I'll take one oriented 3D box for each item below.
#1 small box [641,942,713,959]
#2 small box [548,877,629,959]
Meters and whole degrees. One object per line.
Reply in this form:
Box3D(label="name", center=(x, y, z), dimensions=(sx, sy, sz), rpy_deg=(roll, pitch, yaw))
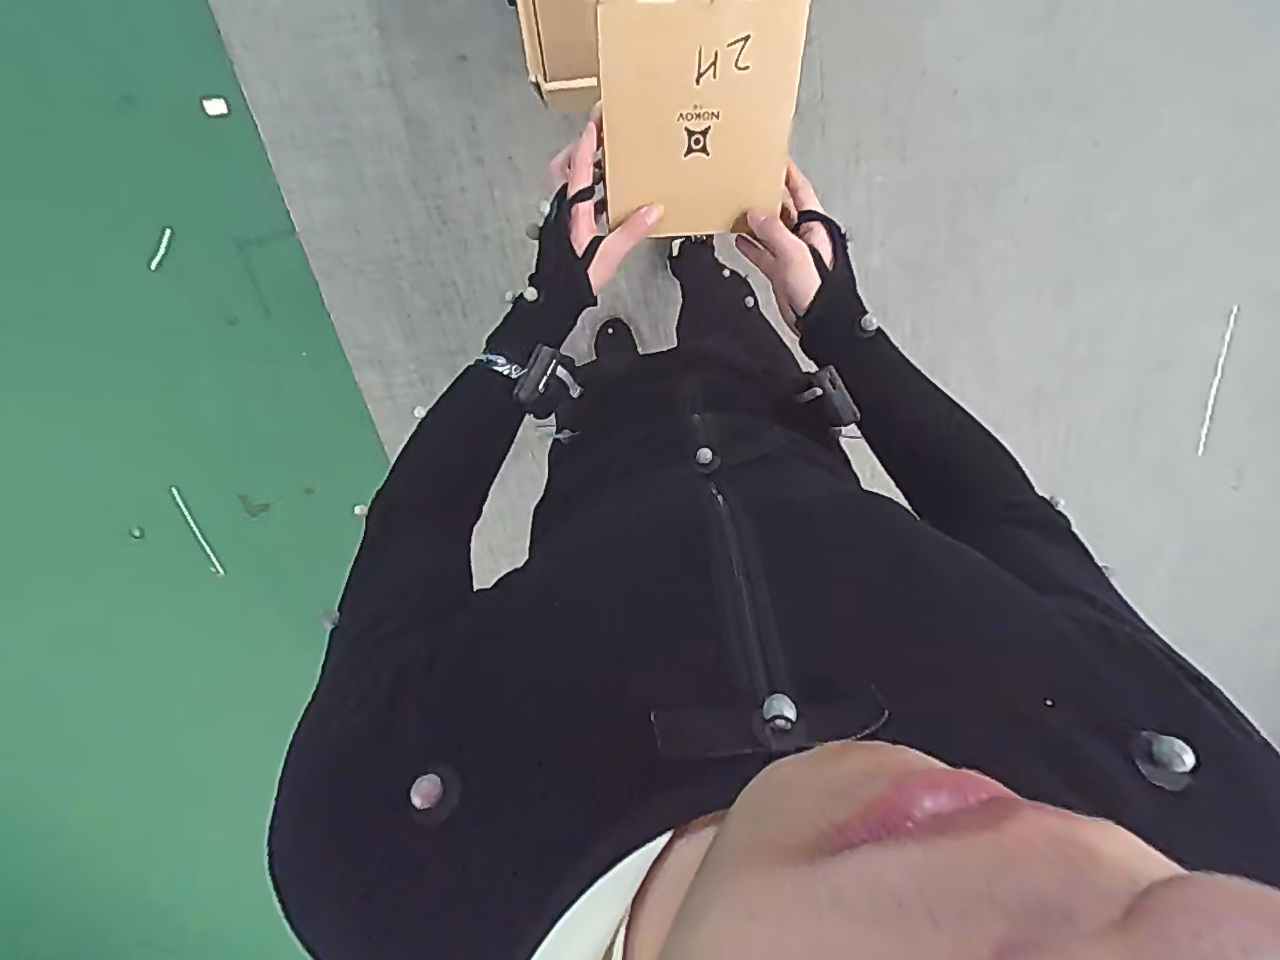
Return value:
Box3D(label="small box", center=(0.092, 1.330, 1.379), dimensions=(0.179, 0.176, 0.168), rpy_deg=(39, 105, -18))
Box3D(label="small box", center=(-0.122, 1.044, 1.239), dimensions=(0.168, 0.176, 0.179), rpy_deg=(5, 115, -8))
